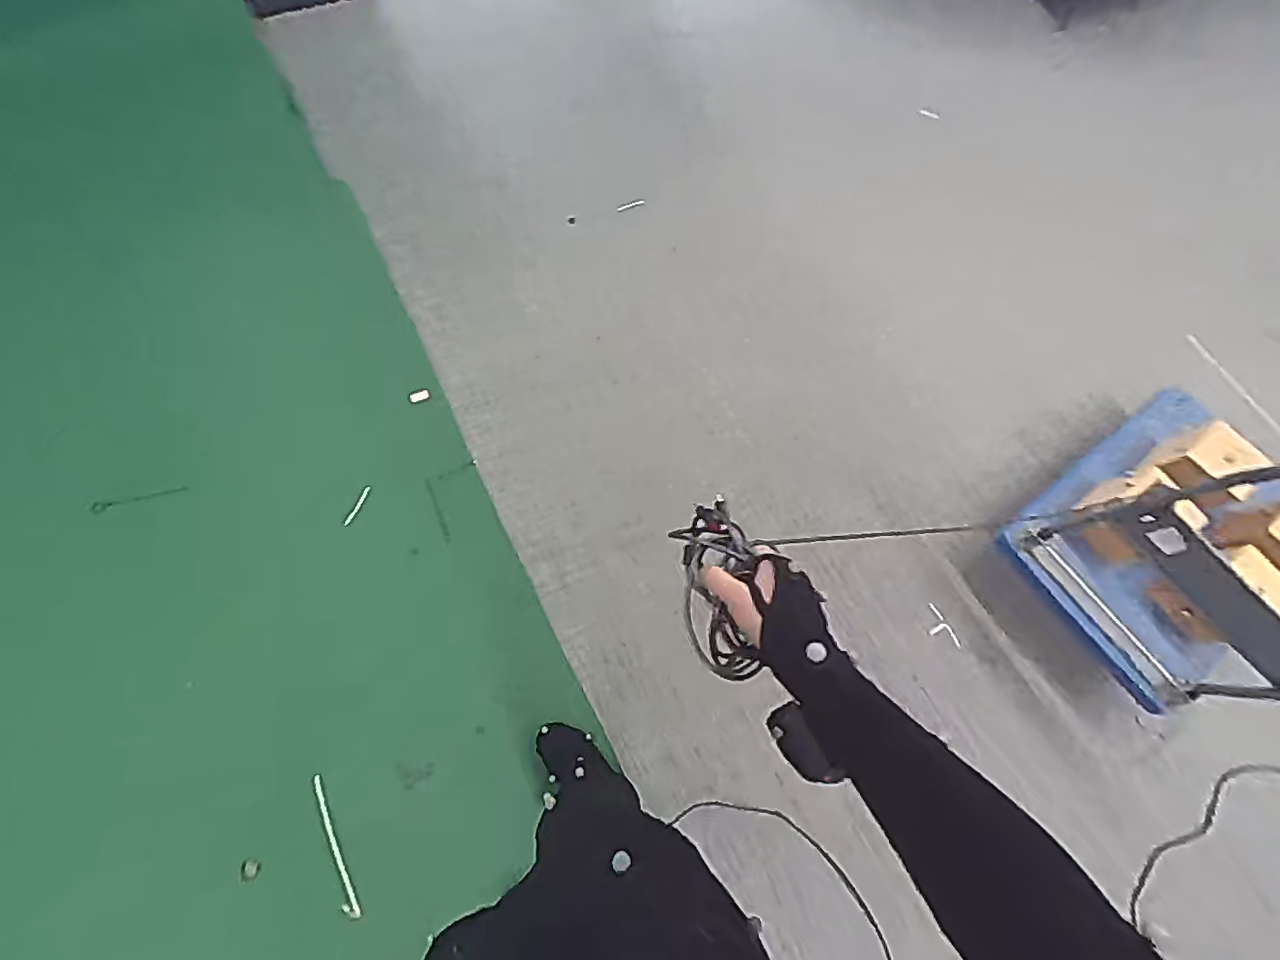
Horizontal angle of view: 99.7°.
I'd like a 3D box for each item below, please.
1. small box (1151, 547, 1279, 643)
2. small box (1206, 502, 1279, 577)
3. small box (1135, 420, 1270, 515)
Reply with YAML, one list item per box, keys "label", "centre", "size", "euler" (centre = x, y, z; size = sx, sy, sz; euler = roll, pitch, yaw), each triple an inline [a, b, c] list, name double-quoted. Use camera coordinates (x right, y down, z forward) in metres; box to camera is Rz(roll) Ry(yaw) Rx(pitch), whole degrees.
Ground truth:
- label: "small box"
  centre: [1.480, 0.298, 1.376]
  size: [0.179, 0.176, 0.168]
  euler: [-31, 76, -14]
- label: "small box"
  centre: [1.686, 0.171, 1.436]
  size: [0.179, 0.176, 0.168]
  euler: [-35, 76, -14]
- label: "small box"
  centre: [1.538, -0.027, 1.493]
  size: [0.179, 0.176, 0.168]
  euler: [-37, 78, -15]
